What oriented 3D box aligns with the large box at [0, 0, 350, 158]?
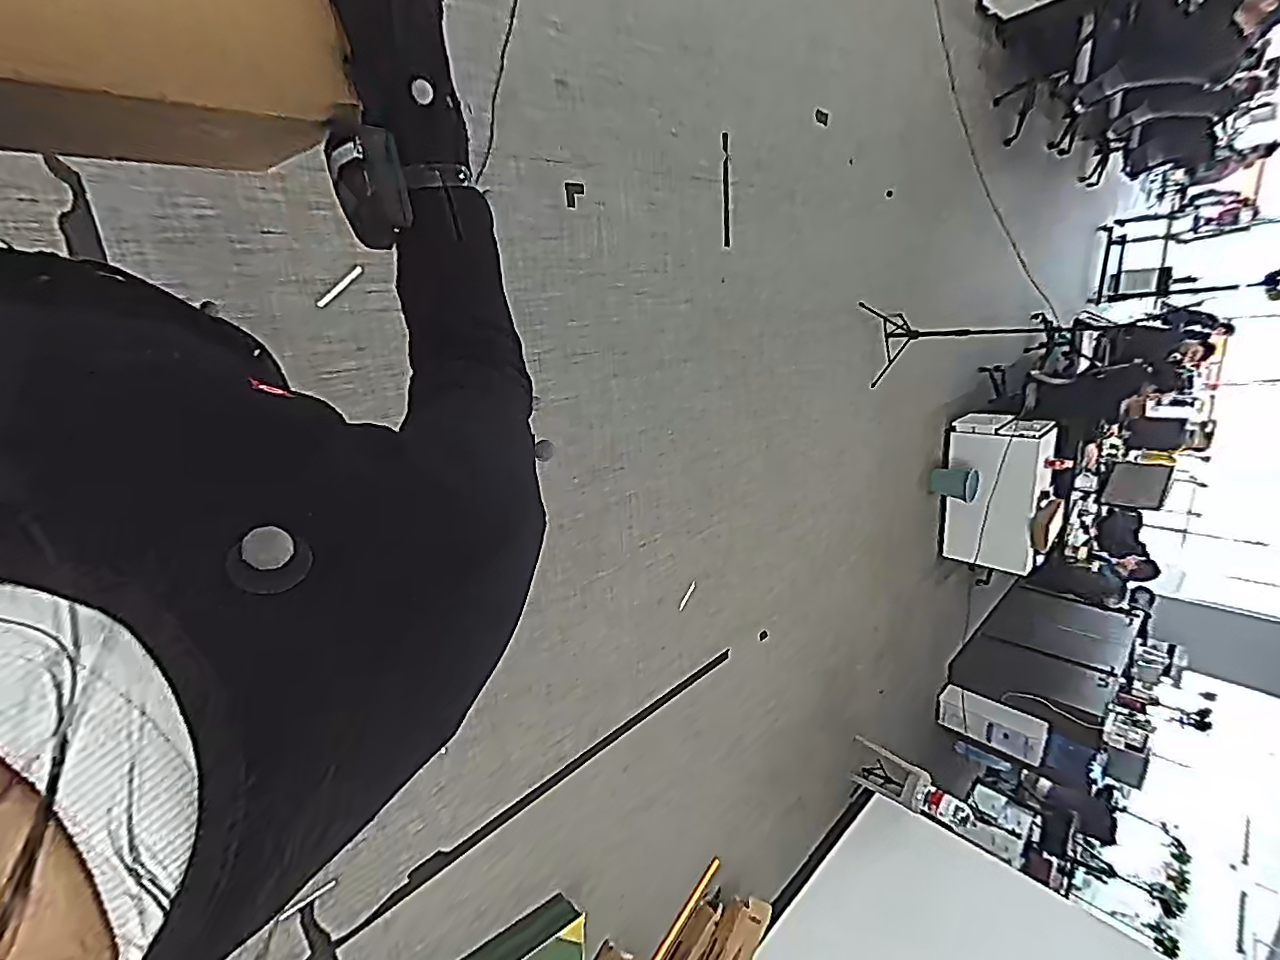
[{"bbox_3d":[-0.438,-0.368,0.272,0.408,0.320,0.320,-21,122,-39],"label":"large box"}]
